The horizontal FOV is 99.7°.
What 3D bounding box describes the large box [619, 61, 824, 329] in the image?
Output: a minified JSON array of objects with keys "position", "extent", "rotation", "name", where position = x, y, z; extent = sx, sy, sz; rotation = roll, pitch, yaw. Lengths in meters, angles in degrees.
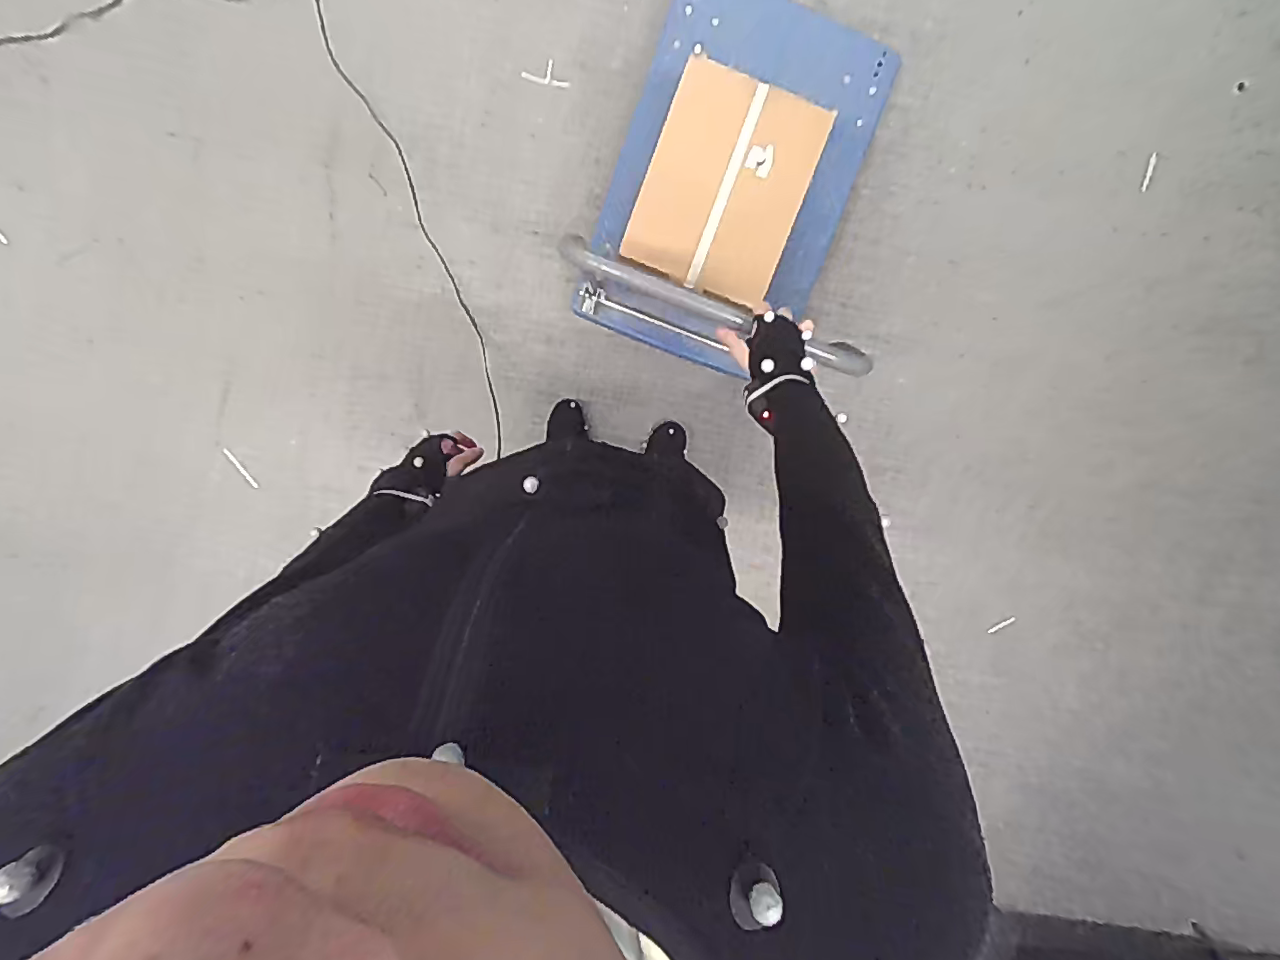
[{"position":[0.159,-0.611,1.243],"extent":[0.320,0.320,0.408],"rotation":[20,95,-5],"name":"large box"}]
